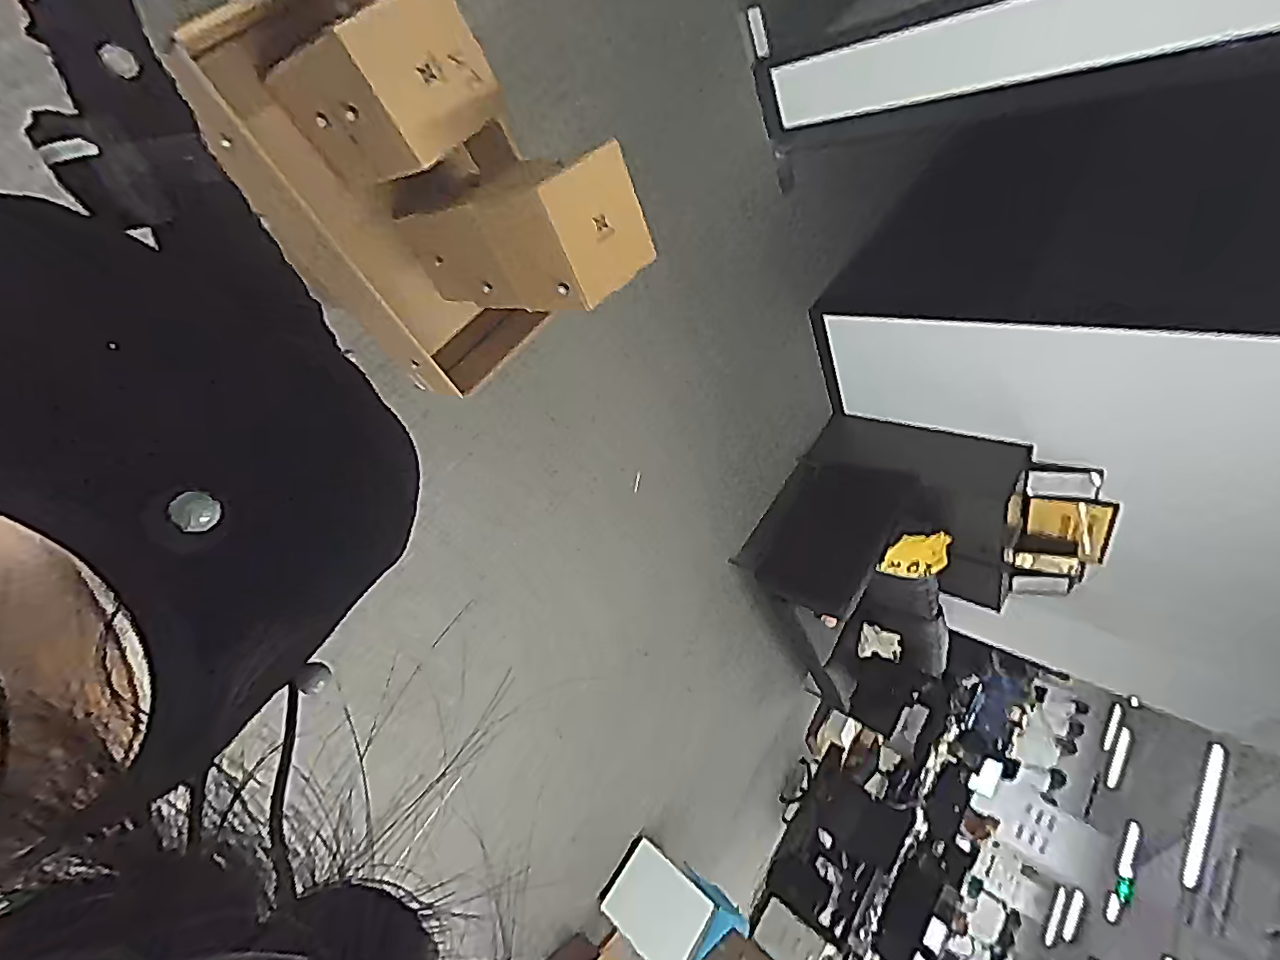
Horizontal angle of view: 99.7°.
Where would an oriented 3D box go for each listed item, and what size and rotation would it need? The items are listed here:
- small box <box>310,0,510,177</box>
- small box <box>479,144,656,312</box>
[{"bbox_3d":[-0.326,-0.553,0.759,0.179,0.176,0.168,-50,136,-20],"label":"small box"},{"bbox_3d":[-0.109,-0.373,0.822,0.168,0.176,0.179,-47,133,-25],"label":"small box"}]
